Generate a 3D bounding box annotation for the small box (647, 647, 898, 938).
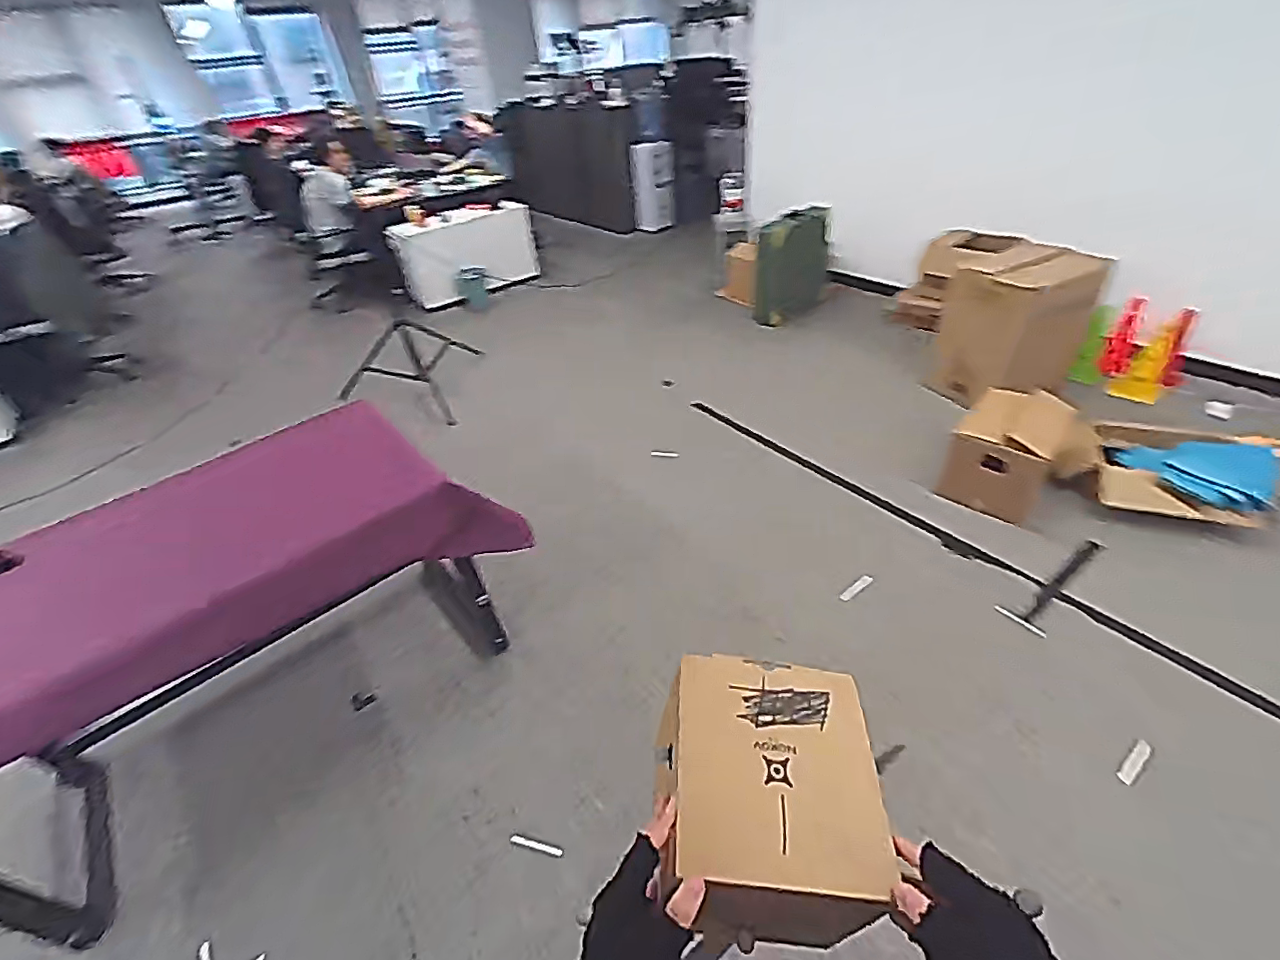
[{"bbox_3d":[0.099,0.282,0.494,0.168,0.176,0.179,7,41,-1],"label":"small box"}]
